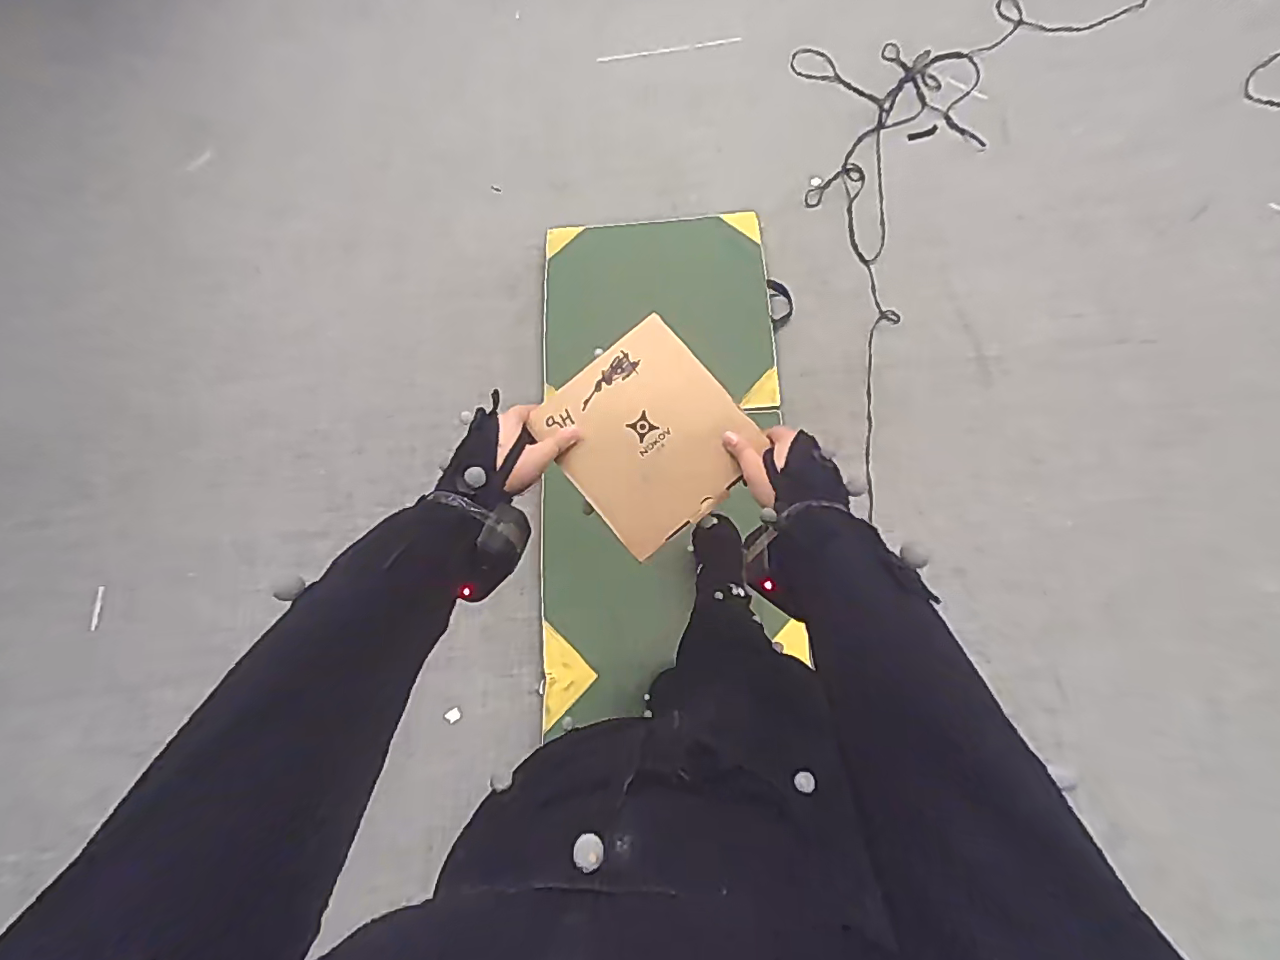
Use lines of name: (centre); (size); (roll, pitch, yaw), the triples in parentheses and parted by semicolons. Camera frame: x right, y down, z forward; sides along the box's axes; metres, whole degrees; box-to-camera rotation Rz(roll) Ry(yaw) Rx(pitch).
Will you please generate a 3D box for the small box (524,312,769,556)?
small box: (0.007, -0.038, 0.583); (0.168, 0.176, 0.179); (-40, 85, -4)
